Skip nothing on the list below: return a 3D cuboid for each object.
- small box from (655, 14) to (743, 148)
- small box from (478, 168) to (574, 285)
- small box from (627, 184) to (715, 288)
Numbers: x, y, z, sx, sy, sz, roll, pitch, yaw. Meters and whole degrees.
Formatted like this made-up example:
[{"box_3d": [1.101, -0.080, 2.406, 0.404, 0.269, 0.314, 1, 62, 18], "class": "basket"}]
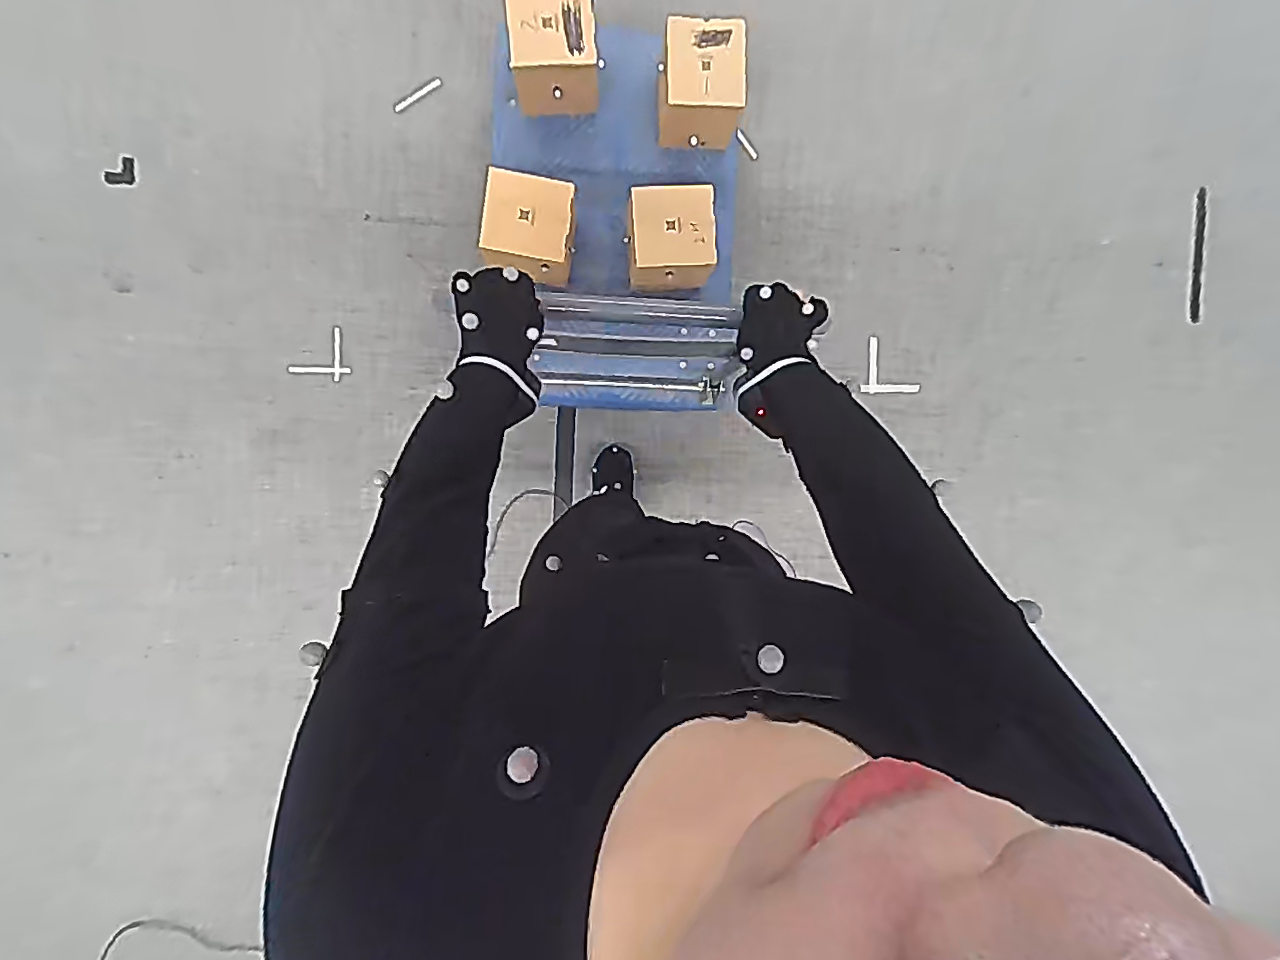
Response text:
[{"box_3d": [0.124, -0.868, 1.189, 0.168, 0.176, 0.179, -2, 94, -5], "class": "small box"}, {"box_3d": [-0.241, -0.540, 1.177, 0.179, 0.176, 0.168, 7, 92, -7], "class": "small box"}, {"box_3d": [0.062, -0.535, 1.204, 0.179, 0.176, 0.168, -4, 94, -5], "class": "small box"}]
